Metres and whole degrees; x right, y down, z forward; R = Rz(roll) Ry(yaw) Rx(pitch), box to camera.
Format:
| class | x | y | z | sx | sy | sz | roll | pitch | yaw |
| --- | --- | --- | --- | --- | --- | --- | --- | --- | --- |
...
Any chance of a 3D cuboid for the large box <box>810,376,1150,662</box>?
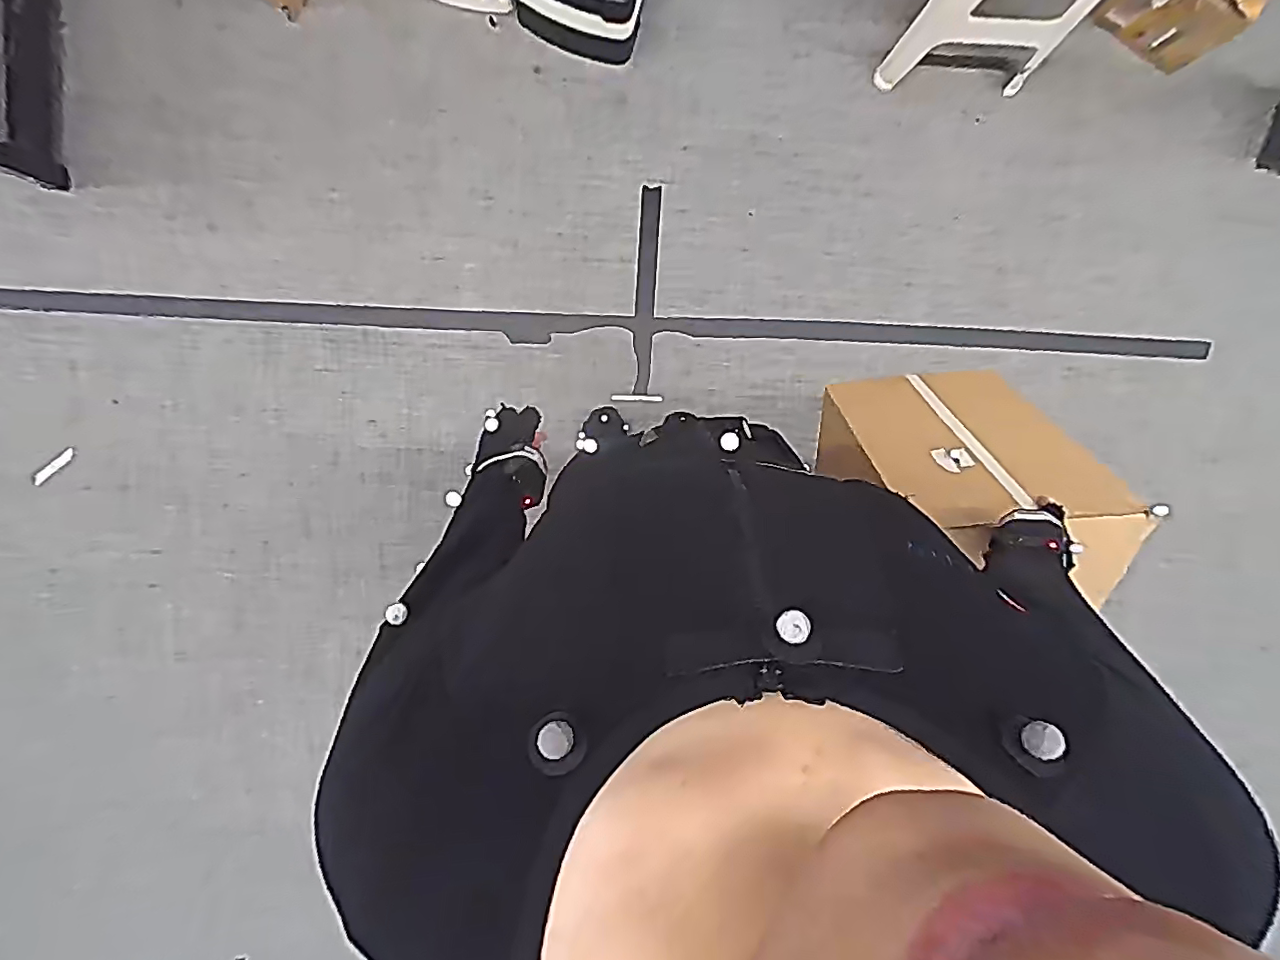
| class | x | y | z | sx | sy | sz | roll | pitch | yaw |
| --- | --- | --- | --- | --- | --- | --- | --- | --- | --- |
| large box | 0.524 | 0.055 | 0.959 | 0.320 | 0.408 | 0.320 | -5 | 129 | 2 |
